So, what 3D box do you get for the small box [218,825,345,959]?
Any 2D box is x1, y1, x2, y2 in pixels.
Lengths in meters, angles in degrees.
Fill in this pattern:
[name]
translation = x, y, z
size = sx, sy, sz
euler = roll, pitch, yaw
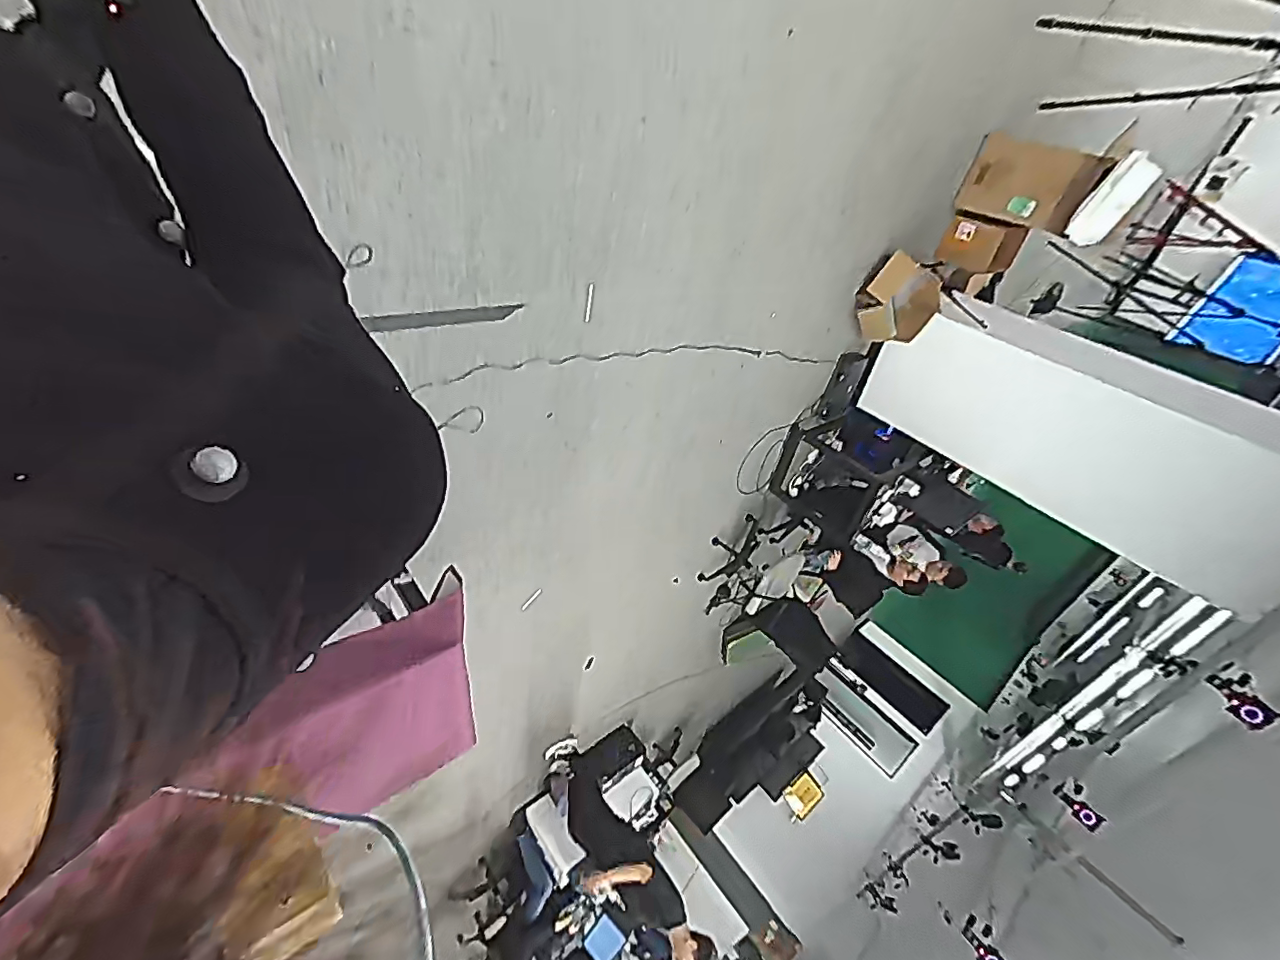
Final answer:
[small box]
translation = -0.755, 0.882, 1.145
size = 0.179, 0.176, 0.168
euler = -19, 136, -37
